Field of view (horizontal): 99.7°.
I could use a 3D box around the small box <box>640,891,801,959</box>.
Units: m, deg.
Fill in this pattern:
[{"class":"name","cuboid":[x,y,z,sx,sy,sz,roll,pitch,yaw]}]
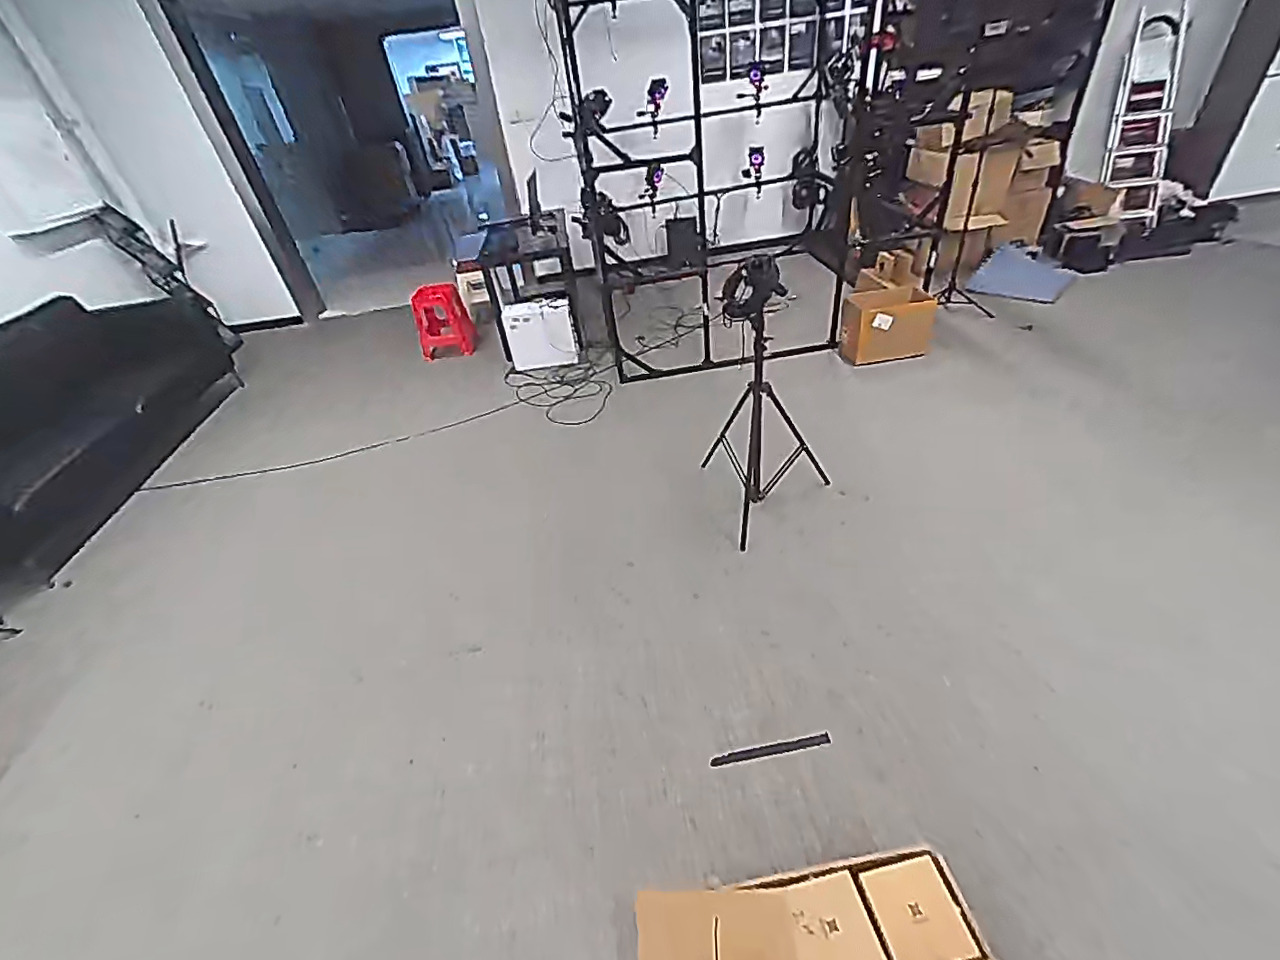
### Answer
[{"class":"small box","cuboid":[0.088,0.562,0.591,0.168,0.176,0.179,-3,51,3]}]
